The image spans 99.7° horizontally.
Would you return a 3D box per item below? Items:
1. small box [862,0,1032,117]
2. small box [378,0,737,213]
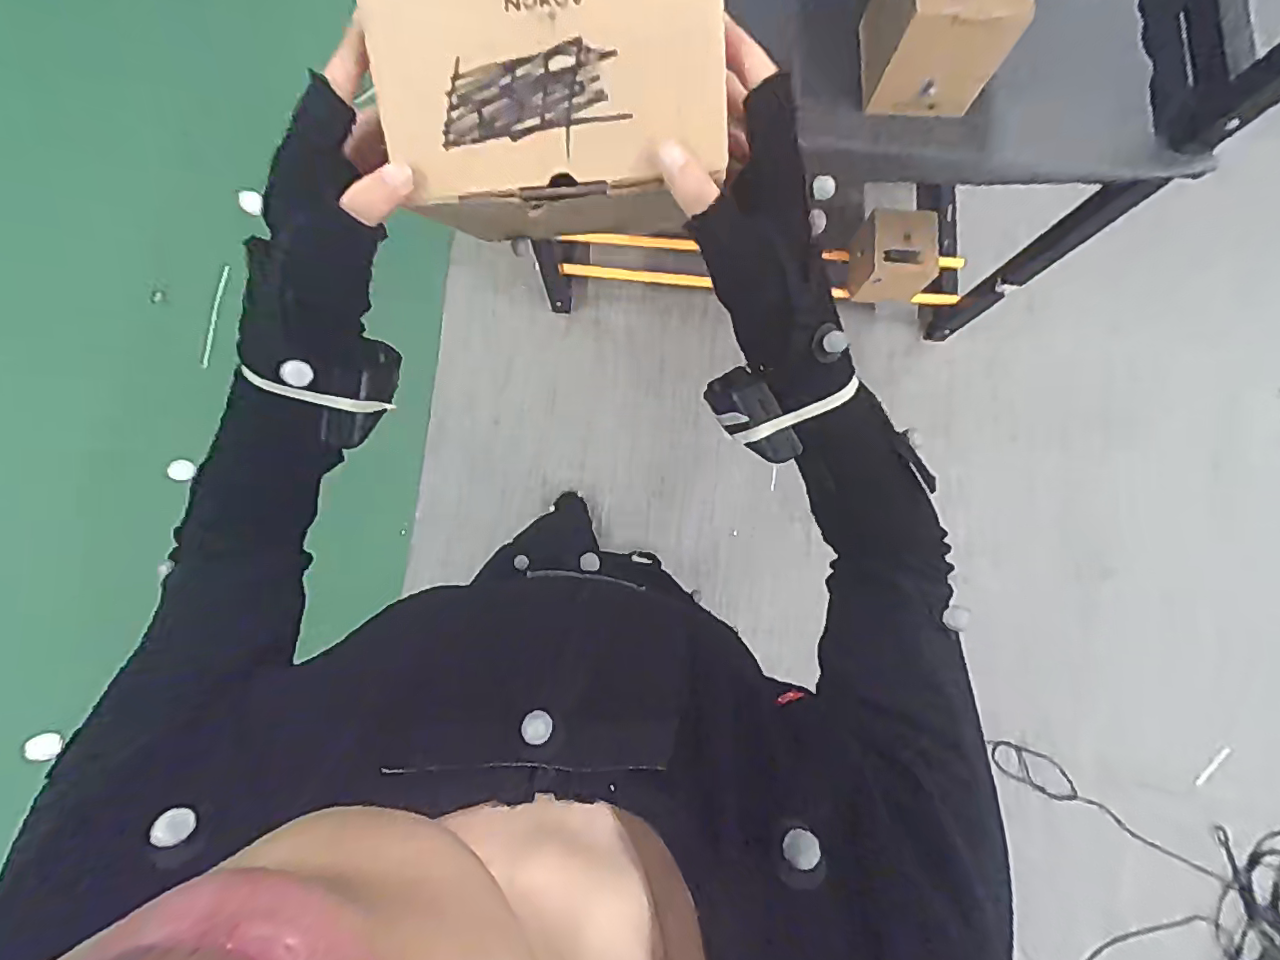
[{"bbox_3d":[0.455,-0.706,0.831,0.168,0.176,0.179,2,80,-1],"label":"small box"},{"bbox_3d":[-0.039,-0.263,0.315,0.168,0.176,0.179,-5,108,0],"label":"small box"}]
